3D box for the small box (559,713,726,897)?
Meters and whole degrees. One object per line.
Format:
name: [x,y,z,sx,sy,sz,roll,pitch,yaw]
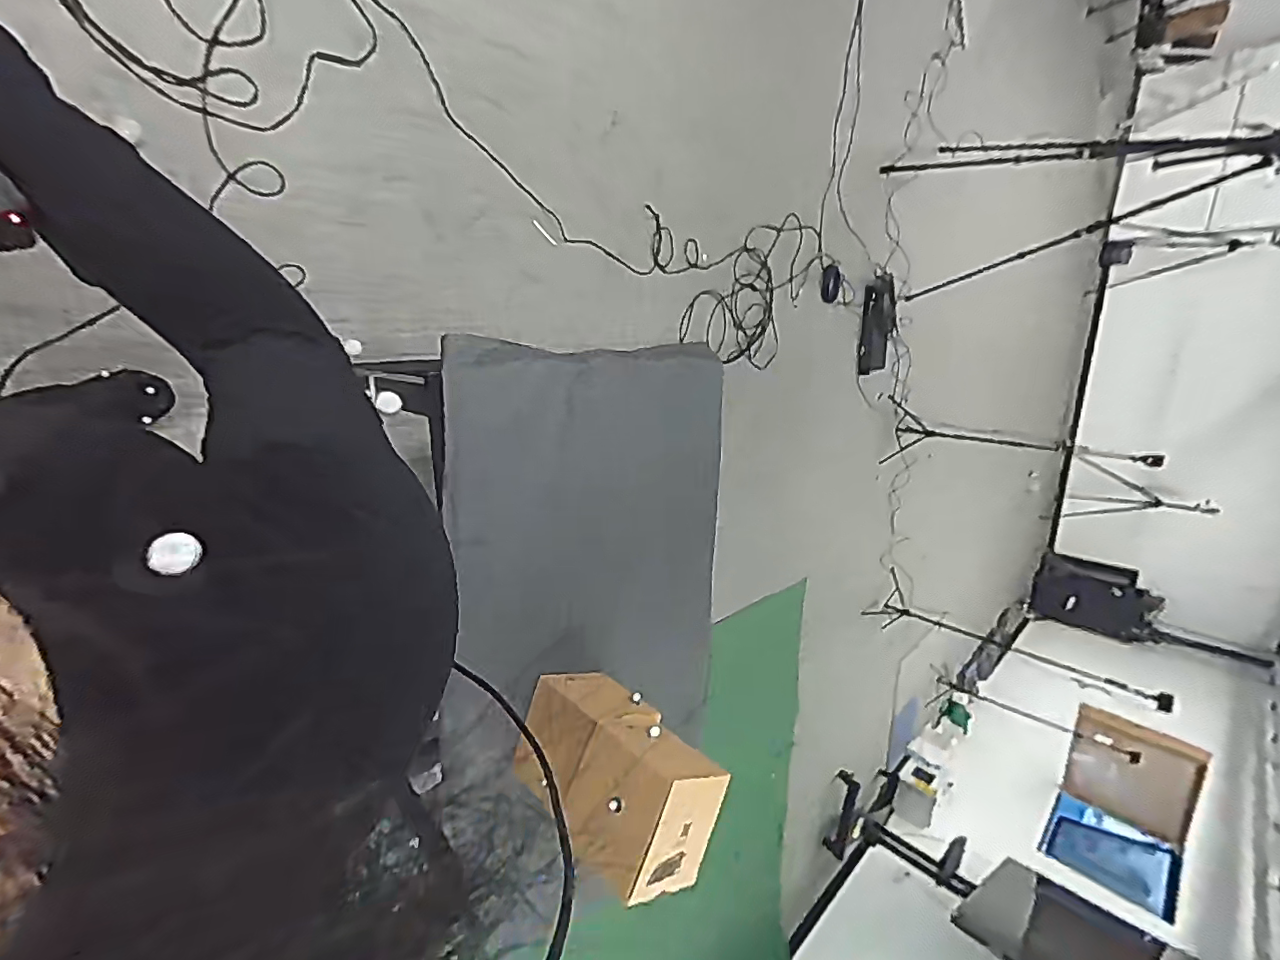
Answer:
small box: [-0.001,0.493,0.846,0.168,0.176,0.179,30,80,-46]
